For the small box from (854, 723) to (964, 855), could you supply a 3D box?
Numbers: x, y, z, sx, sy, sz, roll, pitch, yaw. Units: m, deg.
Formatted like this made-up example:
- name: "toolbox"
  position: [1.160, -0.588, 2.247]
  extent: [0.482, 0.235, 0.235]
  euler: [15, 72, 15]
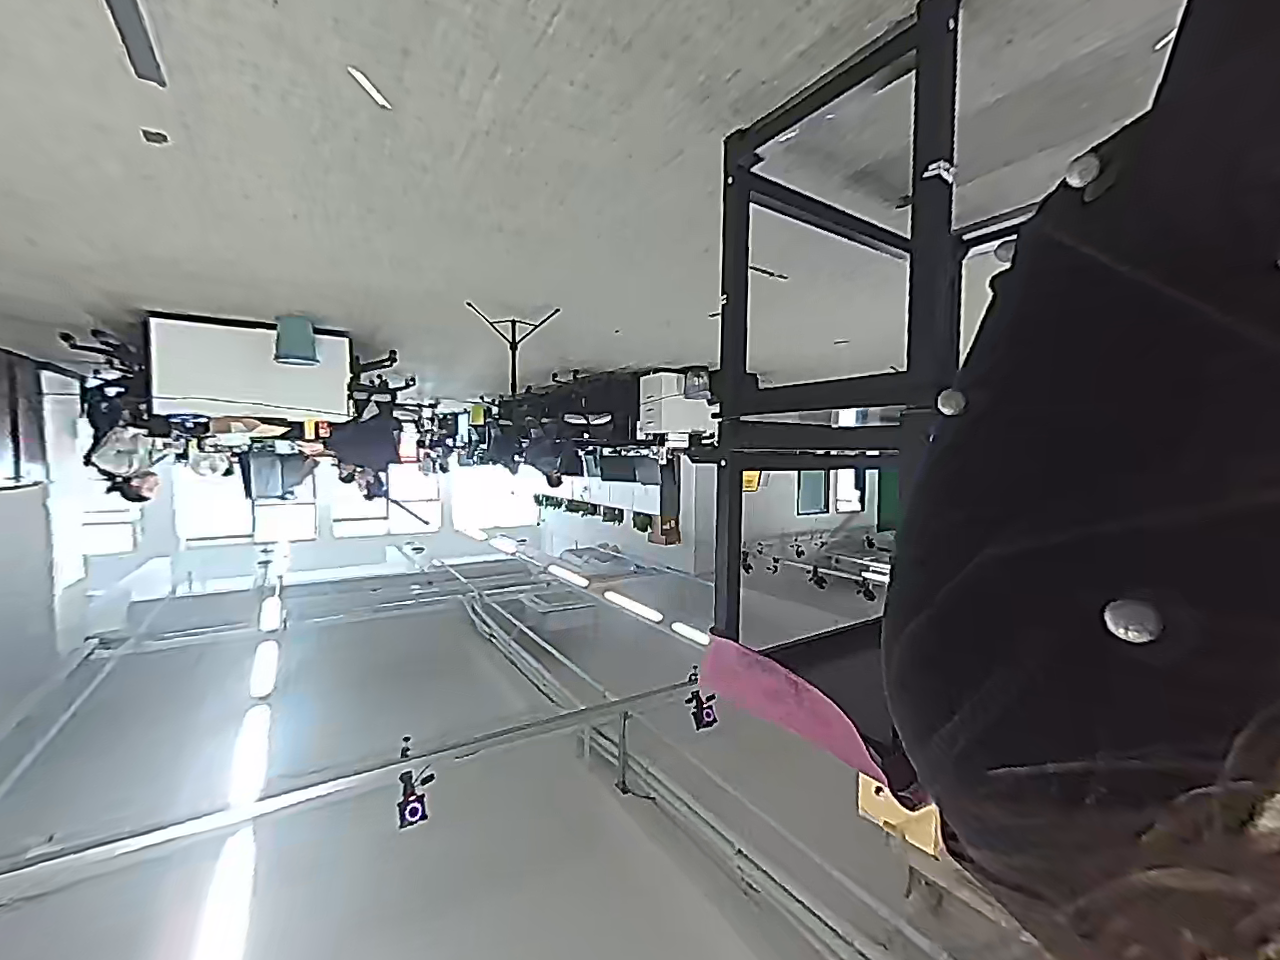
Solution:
- name: "small box"
  position: [0.592, 0.664, 1.190]
  extent: [0.179, 0.176, 0.168]
  euler: [-3, -174, -39]
